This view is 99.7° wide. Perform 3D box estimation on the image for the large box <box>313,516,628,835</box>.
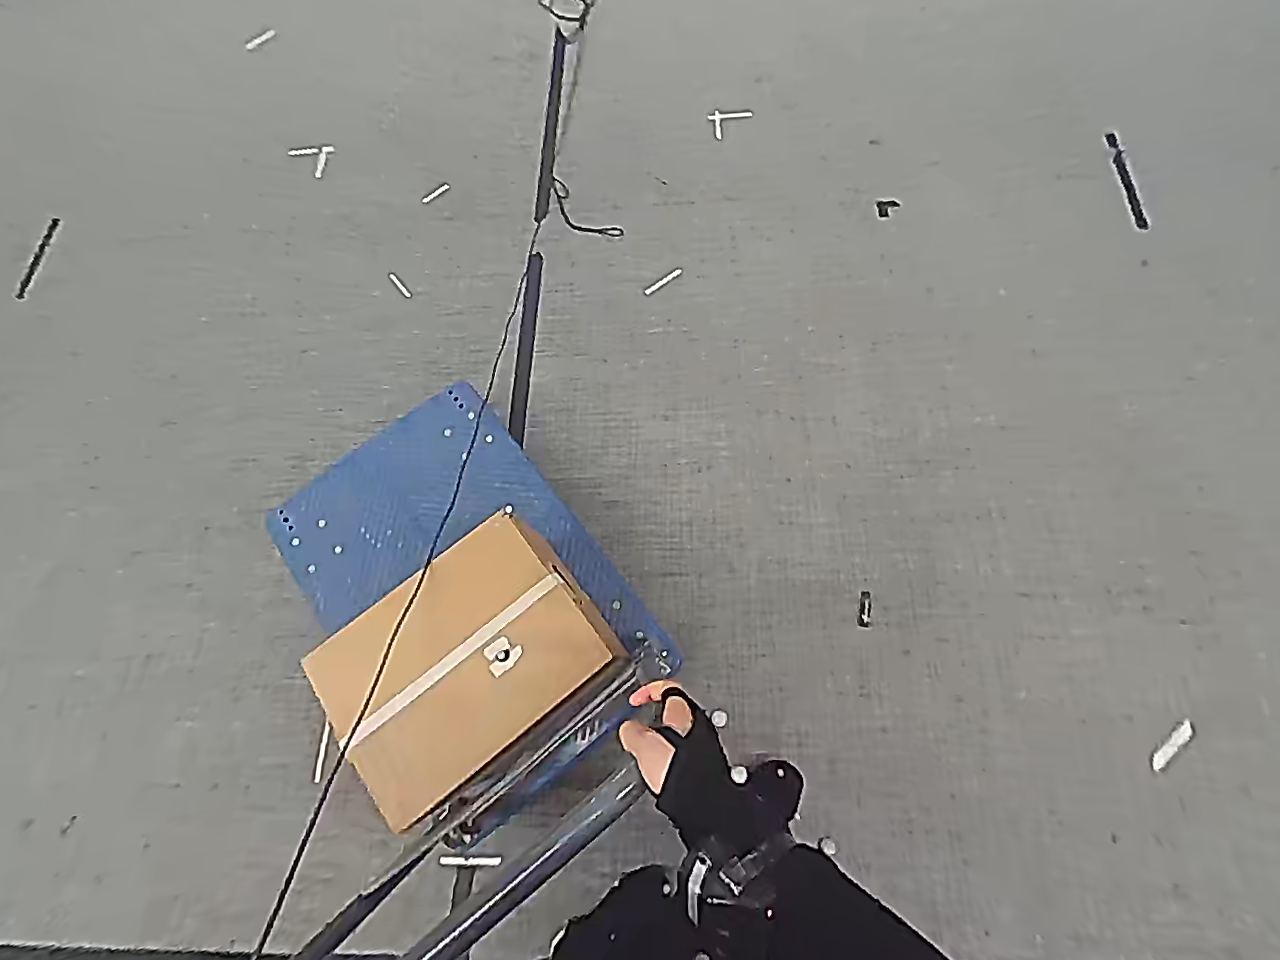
[{"bbox_3d":[-0.278,0.340,1.002,0.408,0.320,0.320,-39,74,-9],"label":"large box"}]
